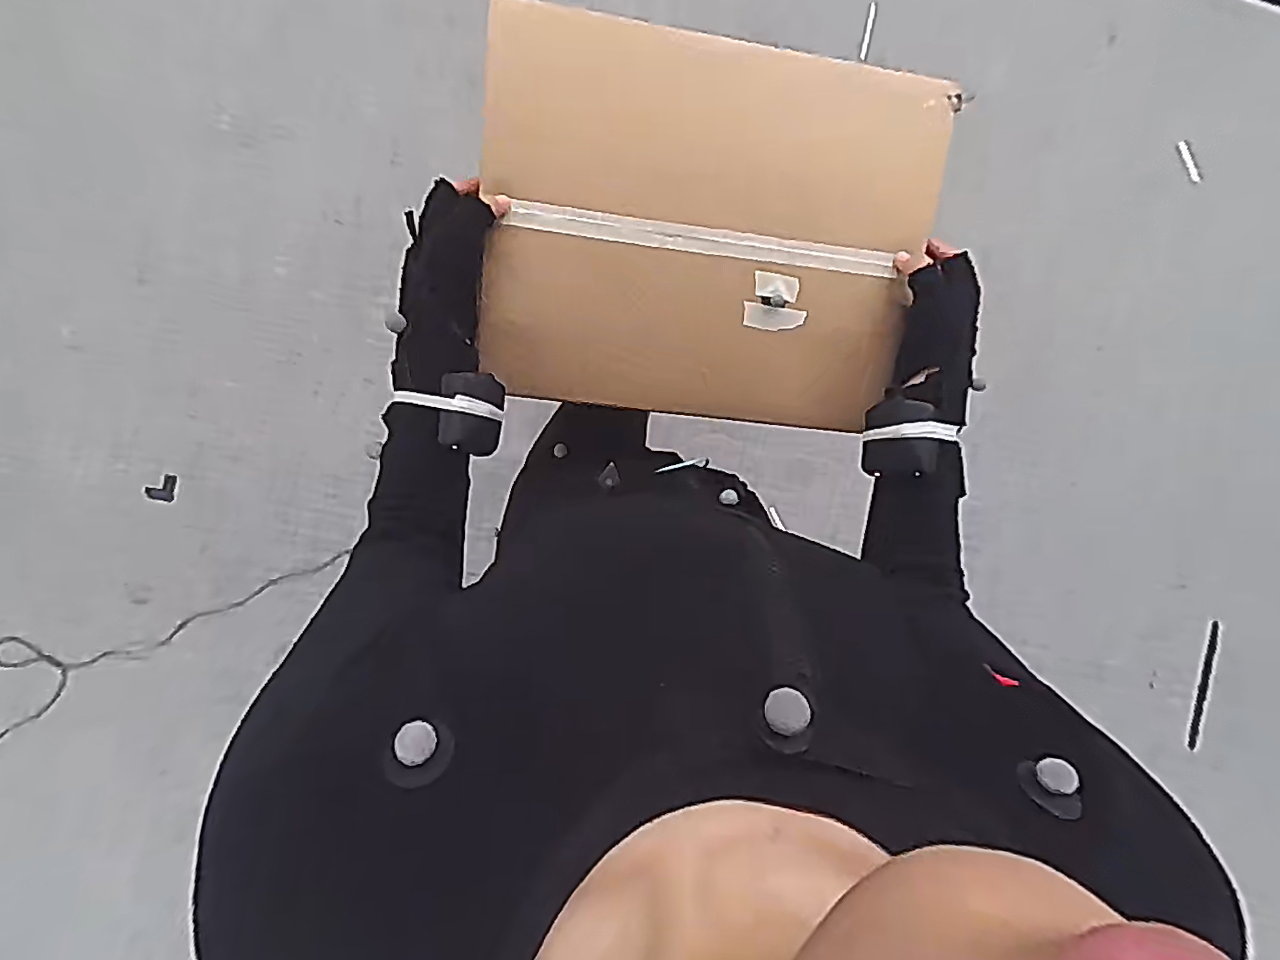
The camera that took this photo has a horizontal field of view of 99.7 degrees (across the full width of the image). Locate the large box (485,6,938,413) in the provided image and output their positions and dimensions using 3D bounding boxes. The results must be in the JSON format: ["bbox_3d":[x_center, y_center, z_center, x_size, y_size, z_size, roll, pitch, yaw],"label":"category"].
[{"bbox_3d":[0.045,-0.265,0.644,0.408,0.320,0.320,5,104,-7],"label":"large box"}]
